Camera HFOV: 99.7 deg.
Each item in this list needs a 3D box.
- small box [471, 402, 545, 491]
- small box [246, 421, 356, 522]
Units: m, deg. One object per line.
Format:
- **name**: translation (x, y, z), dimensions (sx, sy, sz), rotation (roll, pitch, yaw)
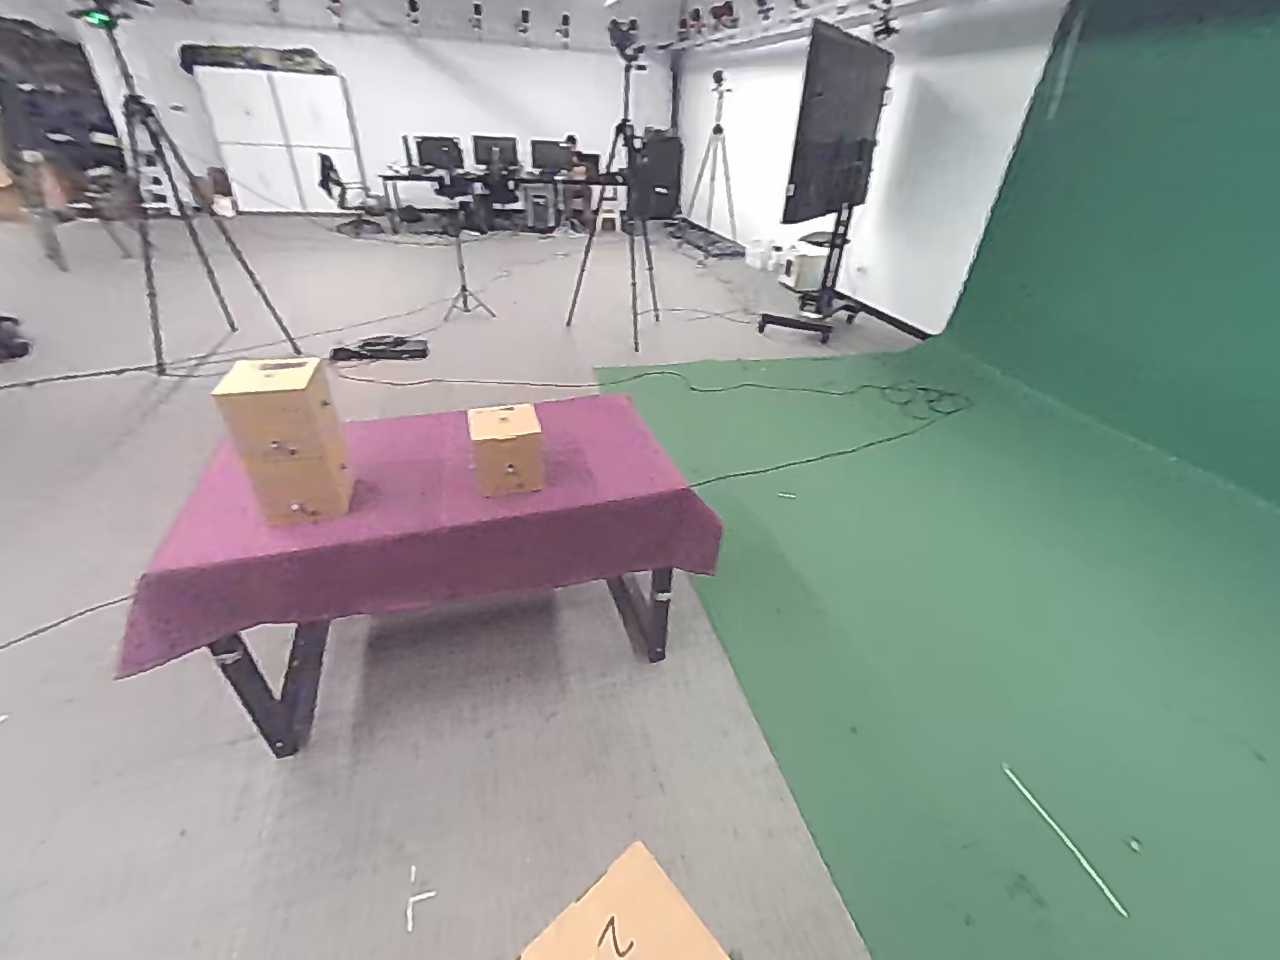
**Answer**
- **small box**: translation (-0.342, -0.083, 1.404), dimensions (0.168, 0.176, 0.179), rotation (-7, 36, -16)
- **small box**: translation (-0.786, -0.022, 1.277), dimensions (0.168, 0.176, 0.179), rotation (-7, 36, -14)
